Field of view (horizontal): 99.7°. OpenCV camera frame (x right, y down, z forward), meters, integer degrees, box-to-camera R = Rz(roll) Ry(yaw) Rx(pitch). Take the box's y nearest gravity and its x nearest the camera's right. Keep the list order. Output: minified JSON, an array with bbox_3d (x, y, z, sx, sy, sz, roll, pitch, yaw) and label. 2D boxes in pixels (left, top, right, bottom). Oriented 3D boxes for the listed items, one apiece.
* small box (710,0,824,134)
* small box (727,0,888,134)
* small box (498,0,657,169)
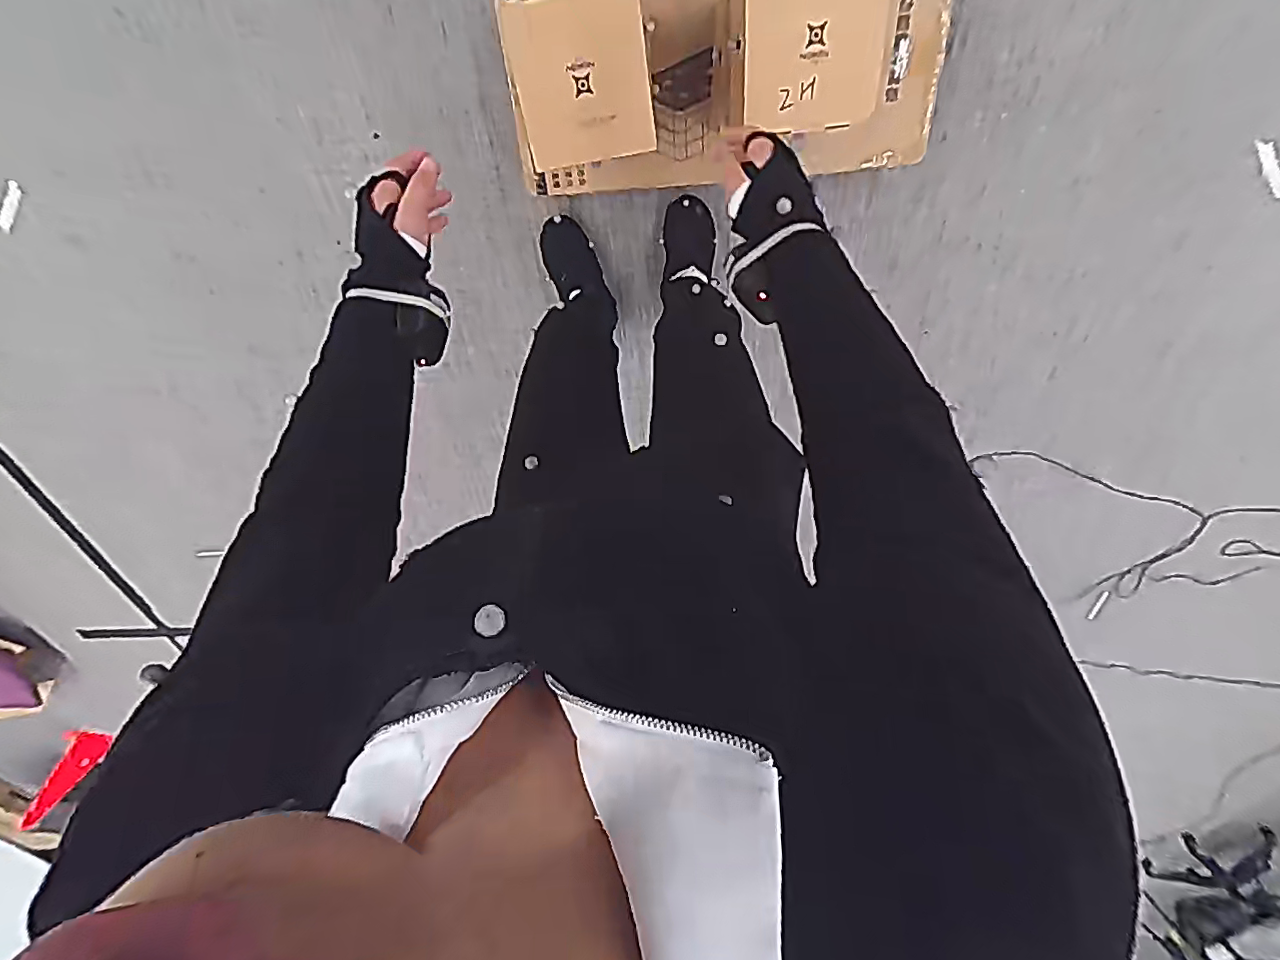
[{"bbox_3d":[0.202,-0.650,0.845,0.168,0.176,0.179,0,127,1],"label":"small box"},{"bbox_3d":[0.204,-0.563,0.702,0.168,0.176,0.179,-3,126,4],"label":"small box"},{"bbox_3d":[-0.071,-0.538,0.725,0.168,0.176,0.179,-7,127,7],"label":"small box"}]
